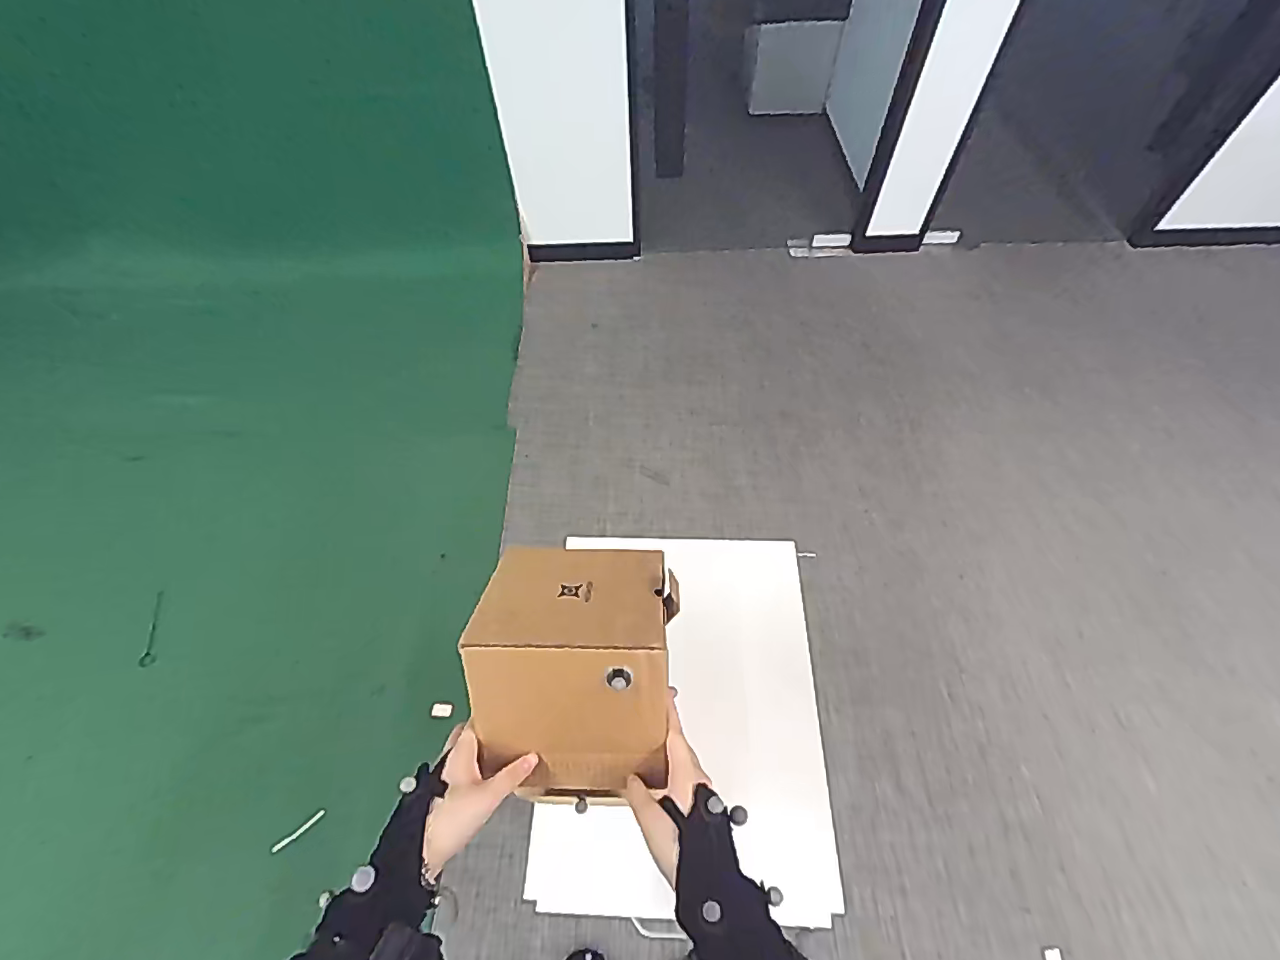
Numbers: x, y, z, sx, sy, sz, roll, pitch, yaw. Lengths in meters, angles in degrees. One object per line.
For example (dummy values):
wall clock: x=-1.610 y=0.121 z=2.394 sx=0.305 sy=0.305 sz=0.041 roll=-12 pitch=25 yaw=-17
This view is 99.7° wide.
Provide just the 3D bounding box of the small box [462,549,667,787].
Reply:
small box: x=-0.061 y=0.184 z=0.553 sx=0.179 sy=0.176 sz=0.168 roll=1 pitch=21 yaw=1

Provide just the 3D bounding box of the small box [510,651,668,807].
small box: x=-0.052 y=0.322 z=0.700 sx=0.179 sy=0.176 sz=0.168 roll=1 pitch=56 yaw=1
